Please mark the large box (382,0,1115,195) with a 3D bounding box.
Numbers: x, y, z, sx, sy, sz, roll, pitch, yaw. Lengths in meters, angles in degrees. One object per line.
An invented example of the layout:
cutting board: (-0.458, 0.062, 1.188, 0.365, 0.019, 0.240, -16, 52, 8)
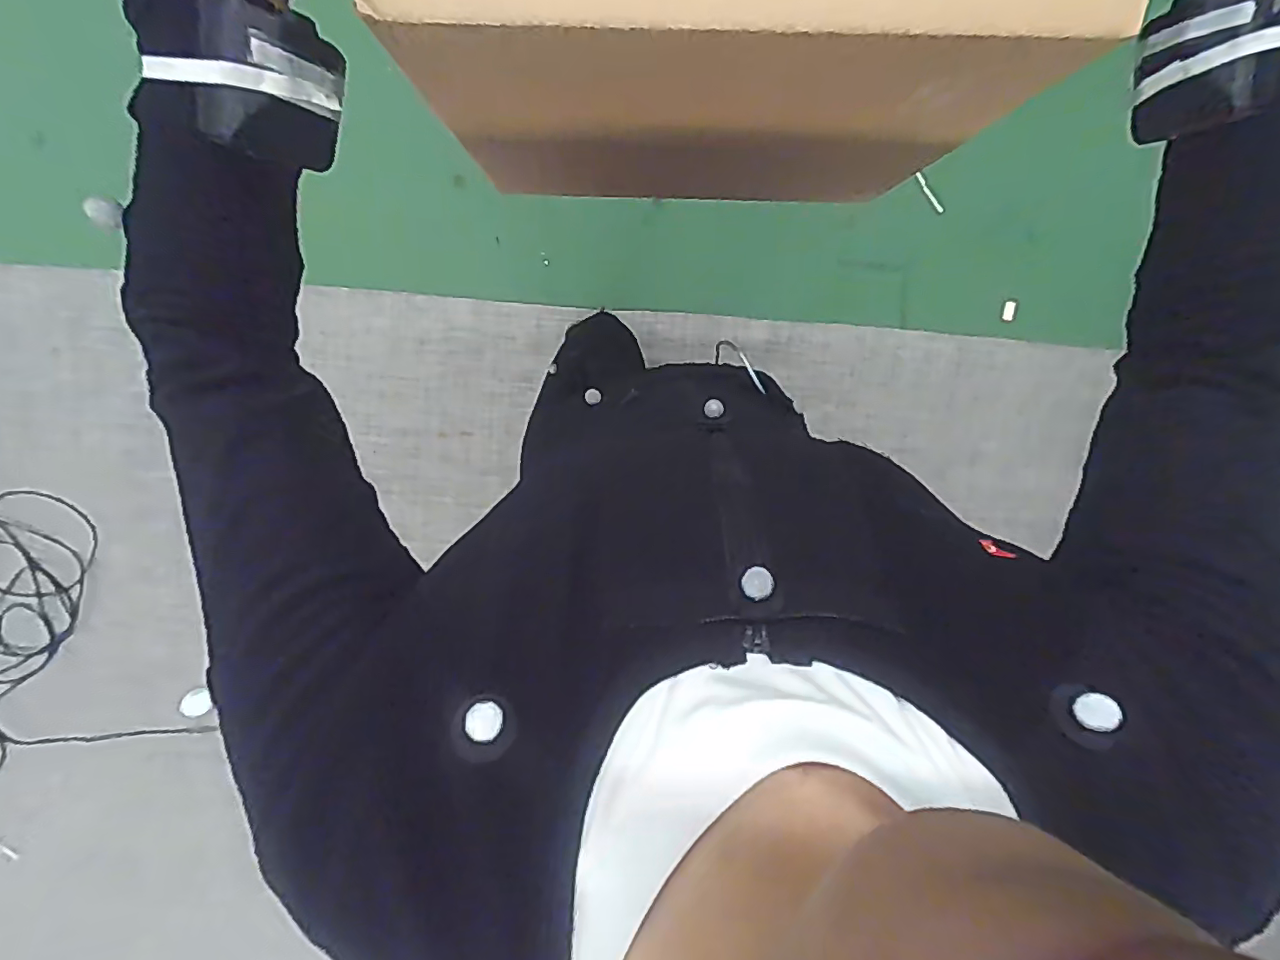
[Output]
large box: (0.054, -0.424, 0.403, 0.408, 0.320, 0.320, 0, 104, -1)
